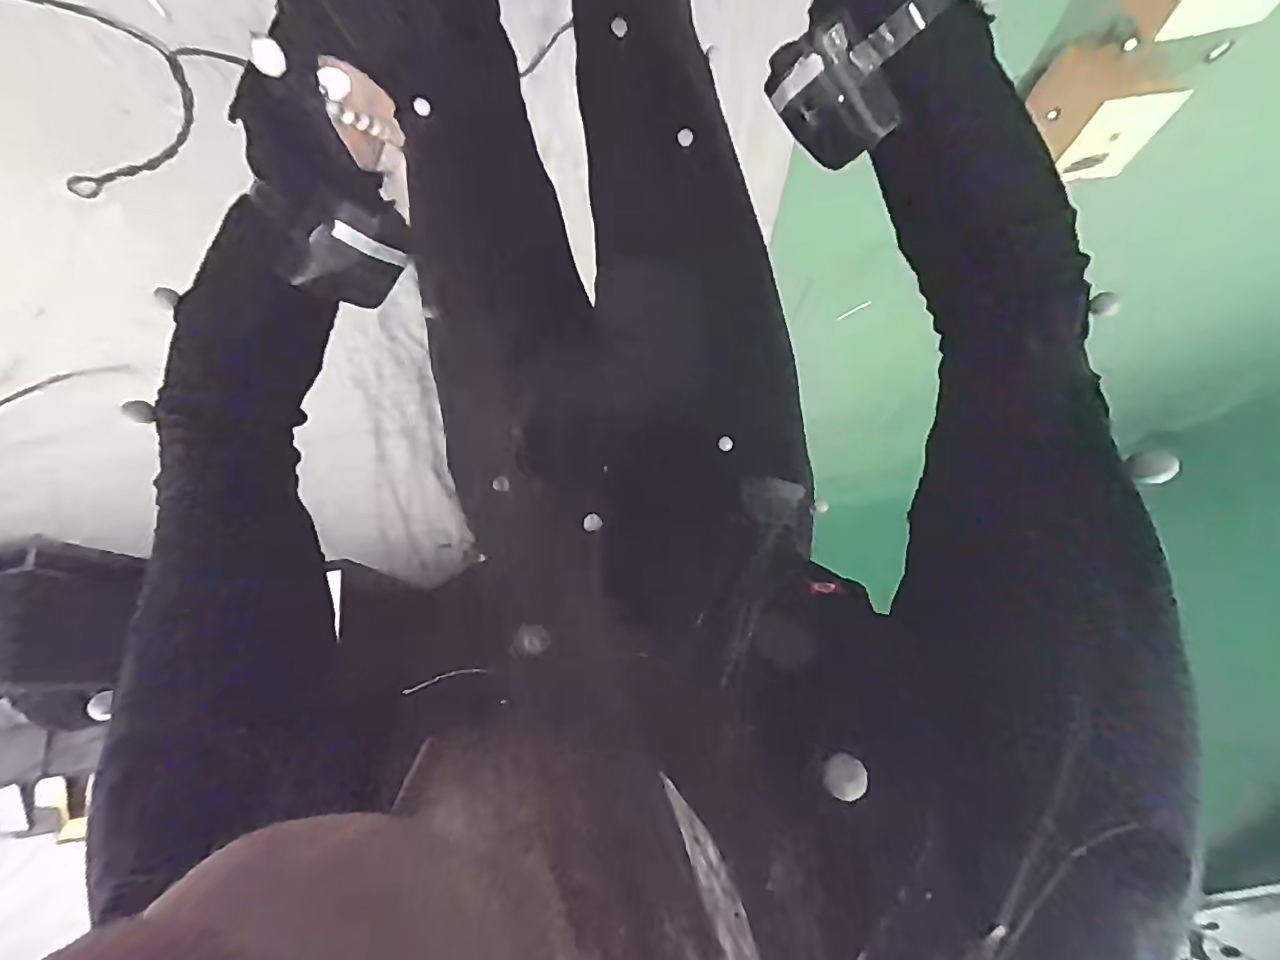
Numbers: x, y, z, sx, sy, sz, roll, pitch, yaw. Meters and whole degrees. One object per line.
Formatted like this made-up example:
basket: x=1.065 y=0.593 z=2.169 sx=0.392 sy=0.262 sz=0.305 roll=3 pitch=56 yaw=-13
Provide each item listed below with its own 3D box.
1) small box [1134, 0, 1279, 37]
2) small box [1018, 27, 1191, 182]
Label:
small box: x=0.860 y=-0.798 z=0.786 sx=0.179 sy=0.176 sz=0.168 roll=-8 pitch=162 yaw=2
small box: x=0.871 y=-0.715 z=1.040 sx=0.168 sy=0.176 sz=0.179 roll=-8 pitch=161 yaw=-2
